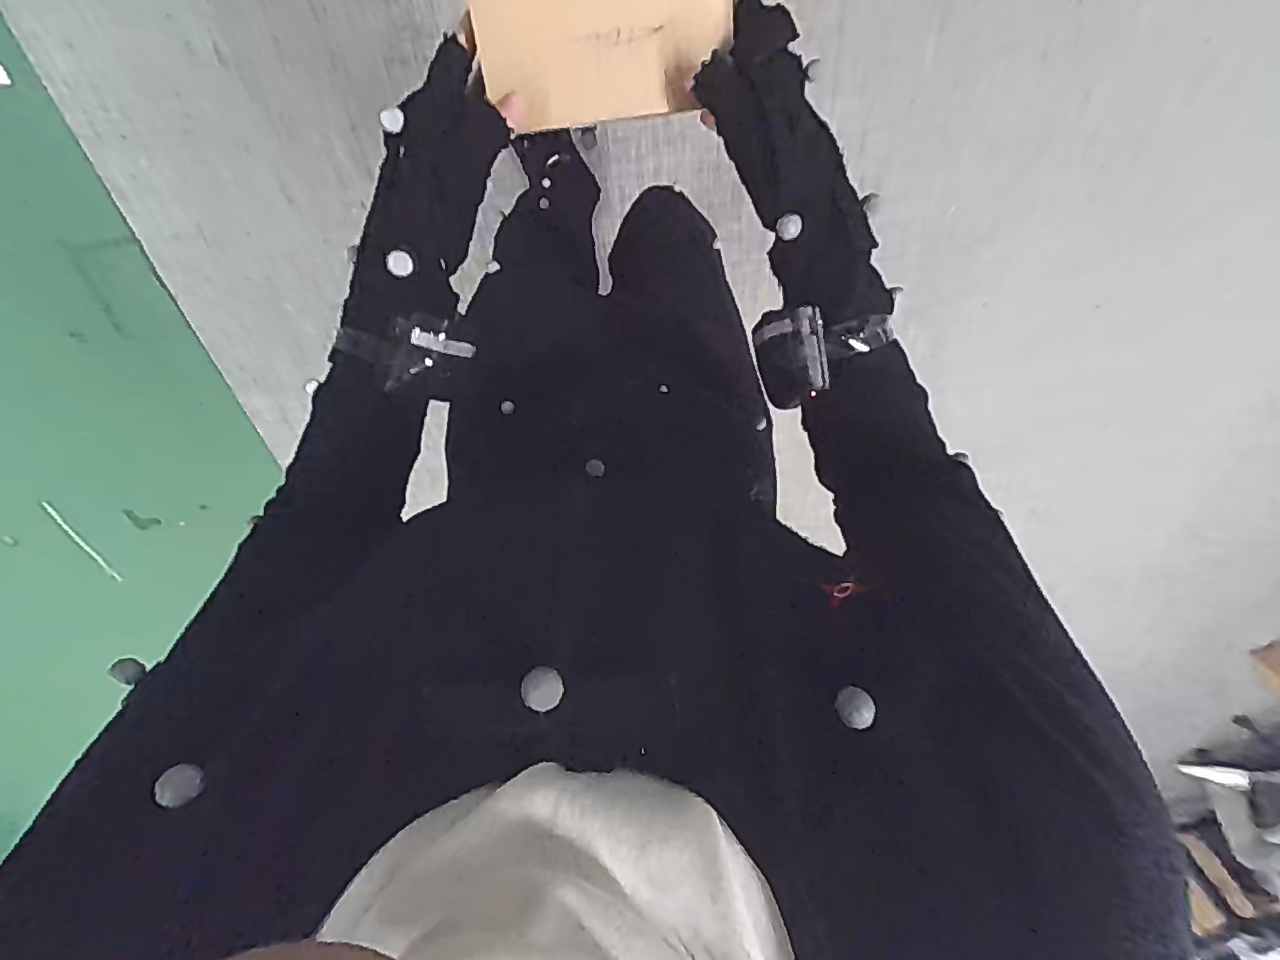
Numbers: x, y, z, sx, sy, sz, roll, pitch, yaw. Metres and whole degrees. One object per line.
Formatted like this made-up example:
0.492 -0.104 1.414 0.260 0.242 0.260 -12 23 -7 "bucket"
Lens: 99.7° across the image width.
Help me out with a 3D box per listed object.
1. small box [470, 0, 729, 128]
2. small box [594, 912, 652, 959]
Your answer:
-0.040 -0.367 0.389 0.168 0.176 0.179 -11 124 -3 "small box"
-0.053 1.547 1.774 0.179 0.176 0.168 -6 128 -1 "small box"
